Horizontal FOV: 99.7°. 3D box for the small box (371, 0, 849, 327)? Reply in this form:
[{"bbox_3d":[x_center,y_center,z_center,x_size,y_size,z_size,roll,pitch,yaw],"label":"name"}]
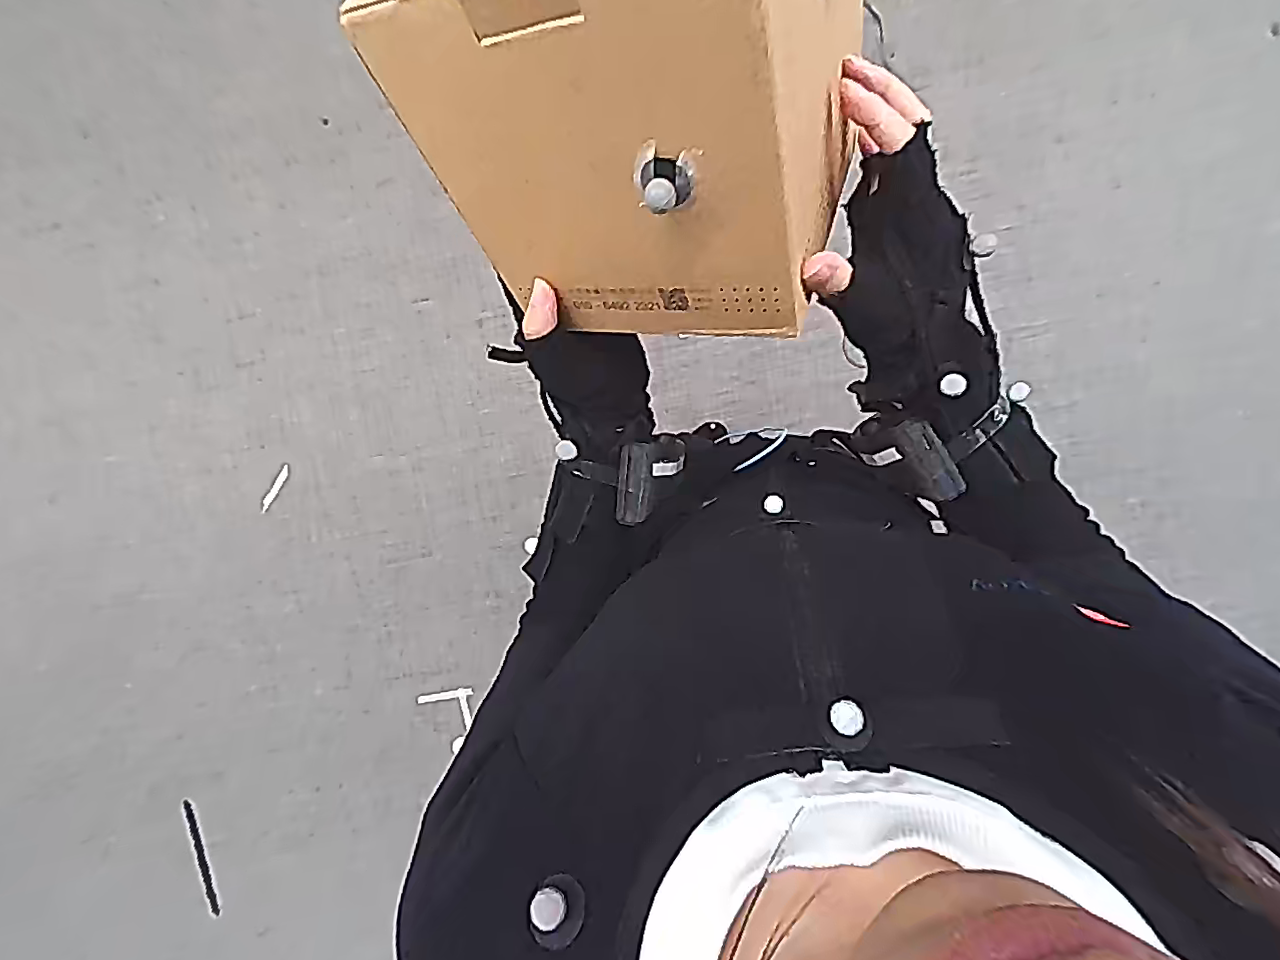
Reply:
[{"bbox_3d":[0.012,-0.202,0.289,0.168,0.176,0.179,11,64,26],"label":"small box"}]
